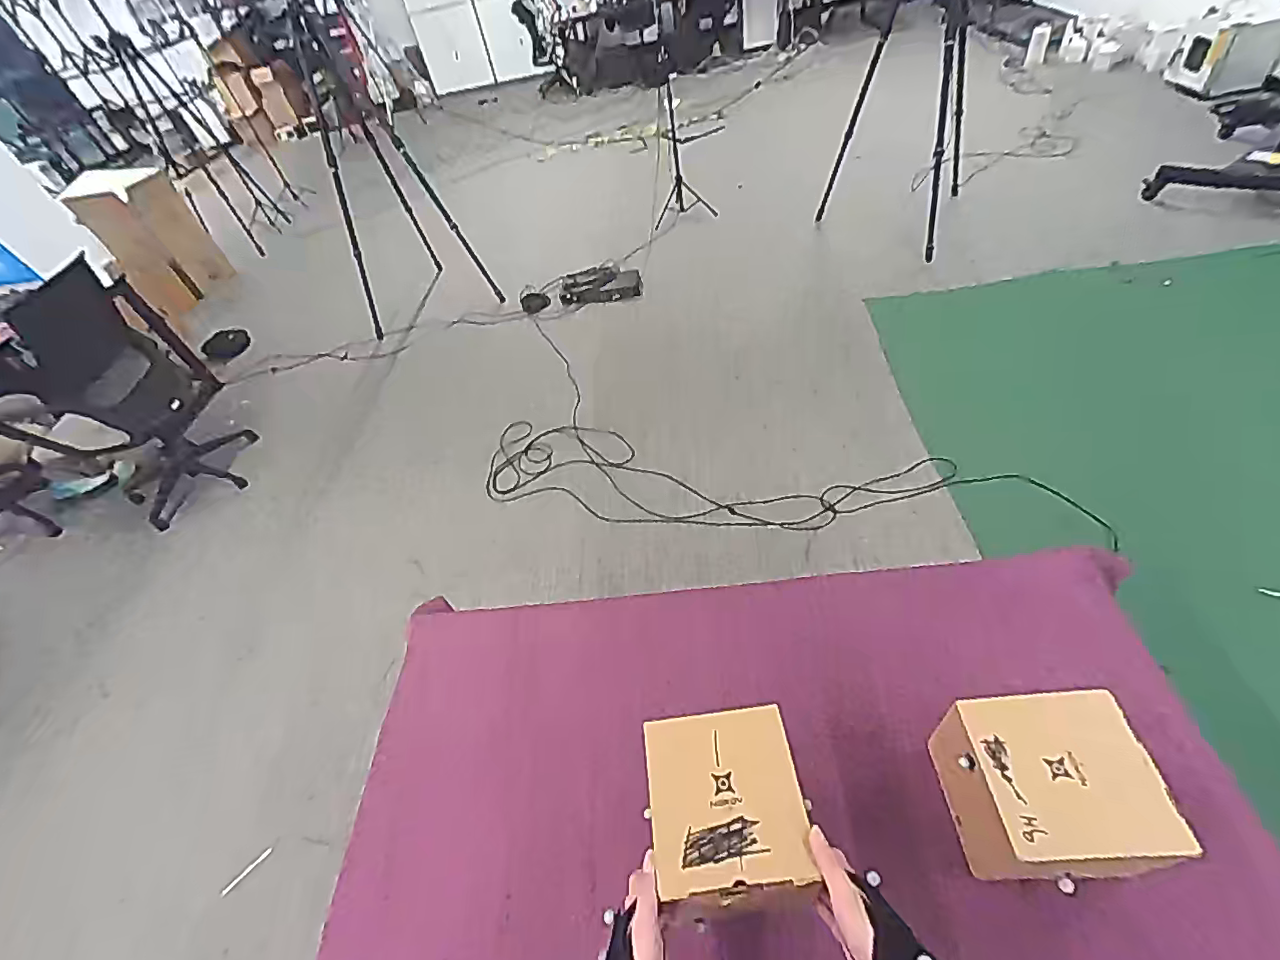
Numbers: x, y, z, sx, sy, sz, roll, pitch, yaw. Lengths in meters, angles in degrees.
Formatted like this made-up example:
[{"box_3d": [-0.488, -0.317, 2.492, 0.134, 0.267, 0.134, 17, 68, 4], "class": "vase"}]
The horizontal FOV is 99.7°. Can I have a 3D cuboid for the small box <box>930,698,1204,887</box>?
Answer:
[{"box_3d": [0.484, 0.378, 0.651, 0.179, 0.176, 0.168, -6, 47, 7], "class": "small box"}]

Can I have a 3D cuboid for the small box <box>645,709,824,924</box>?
[{"box_3d": [0.102, 0.398, 0.634, 0.168, 0.176, 0.179, -8, 43, 1], "class": "small box"}]
